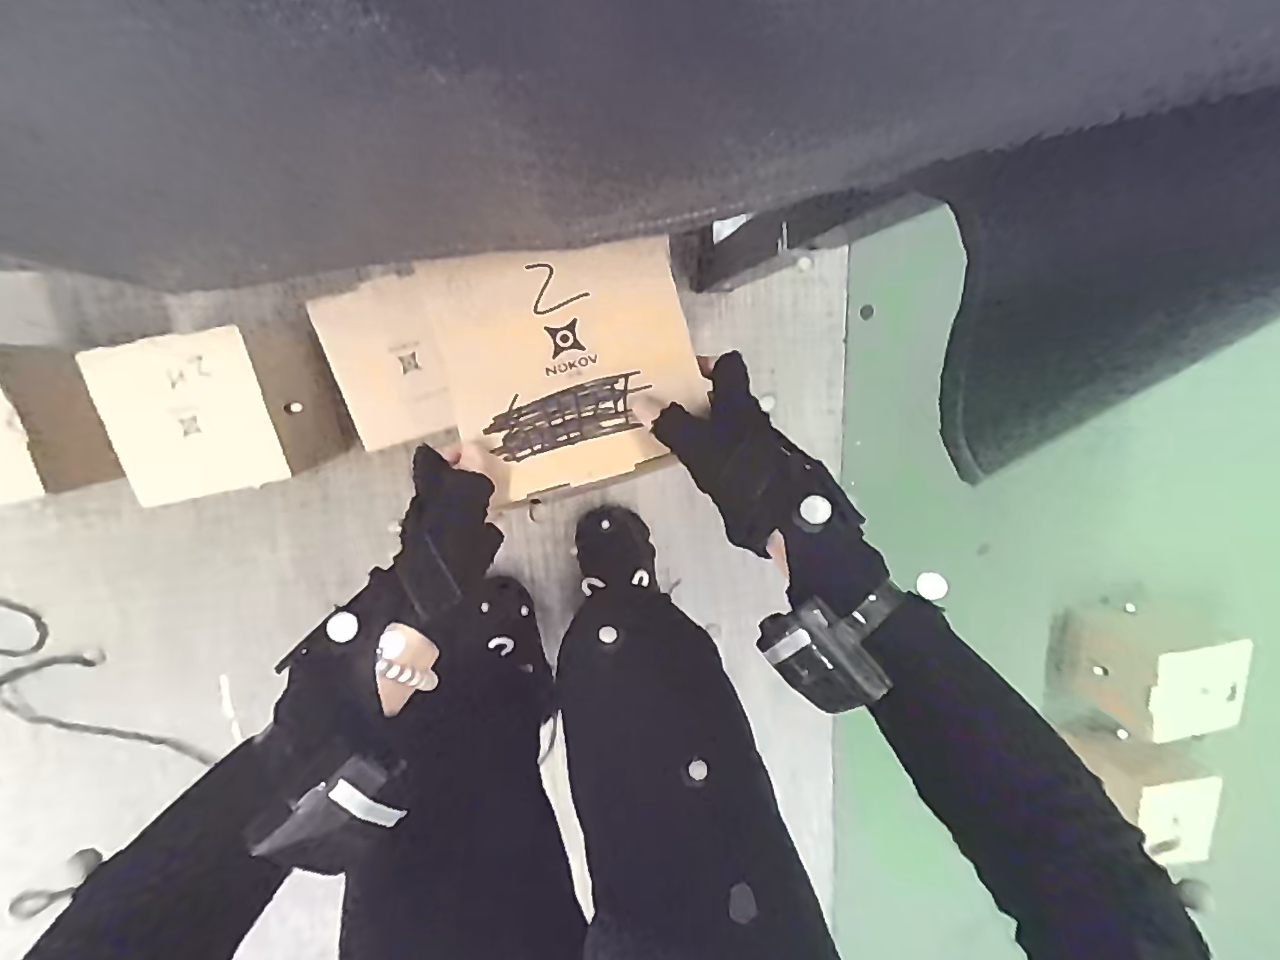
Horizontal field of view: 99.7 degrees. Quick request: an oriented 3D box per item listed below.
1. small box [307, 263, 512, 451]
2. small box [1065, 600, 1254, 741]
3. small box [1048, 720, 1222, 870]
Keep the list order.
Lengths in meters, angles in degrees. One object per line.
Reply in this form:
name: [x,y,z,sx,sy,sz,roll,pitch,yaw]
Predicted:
small box: [-0.271,-0.151,0.682,0.168,0.176,0.179,-17,104,-4]
small box: [0.914,0.333,0.970,0.179,0.176,0.168,-6,104,-6]
small box: [0.929,0.592,1.033,0.168,0.176,0.179,-3,103,-8]
